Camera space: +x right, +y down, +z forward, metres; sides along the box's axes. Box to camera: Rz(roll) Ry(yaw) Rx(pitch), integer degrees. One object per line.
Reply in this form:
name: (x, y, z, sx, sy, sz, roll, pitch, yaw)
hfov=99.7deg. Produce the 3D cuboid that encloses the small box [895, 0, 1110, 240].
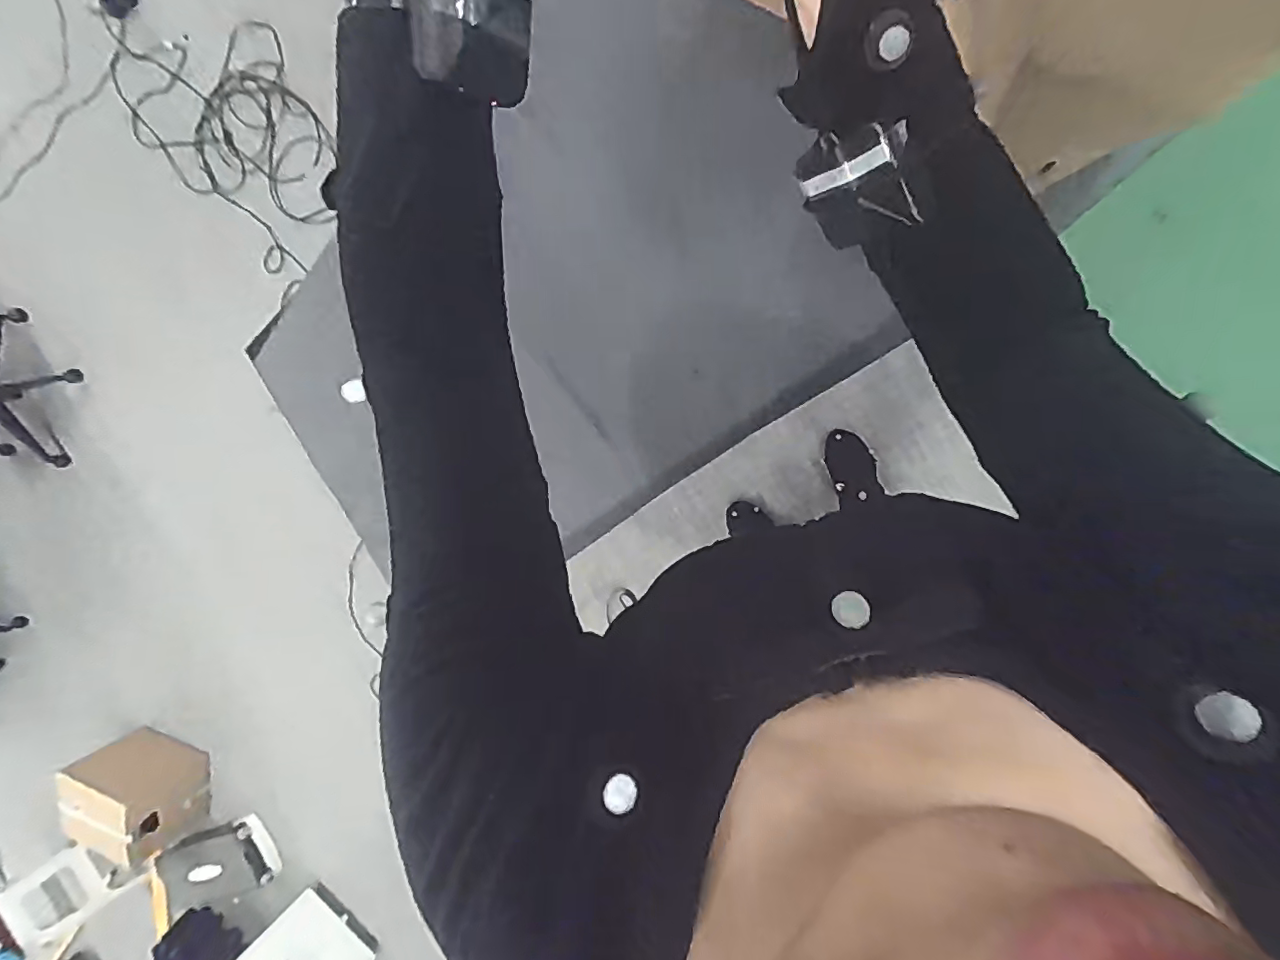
small box: (0.364, -0.365, 0.520, 0.179, 0.176, 0.168, -28, 88, 21)
